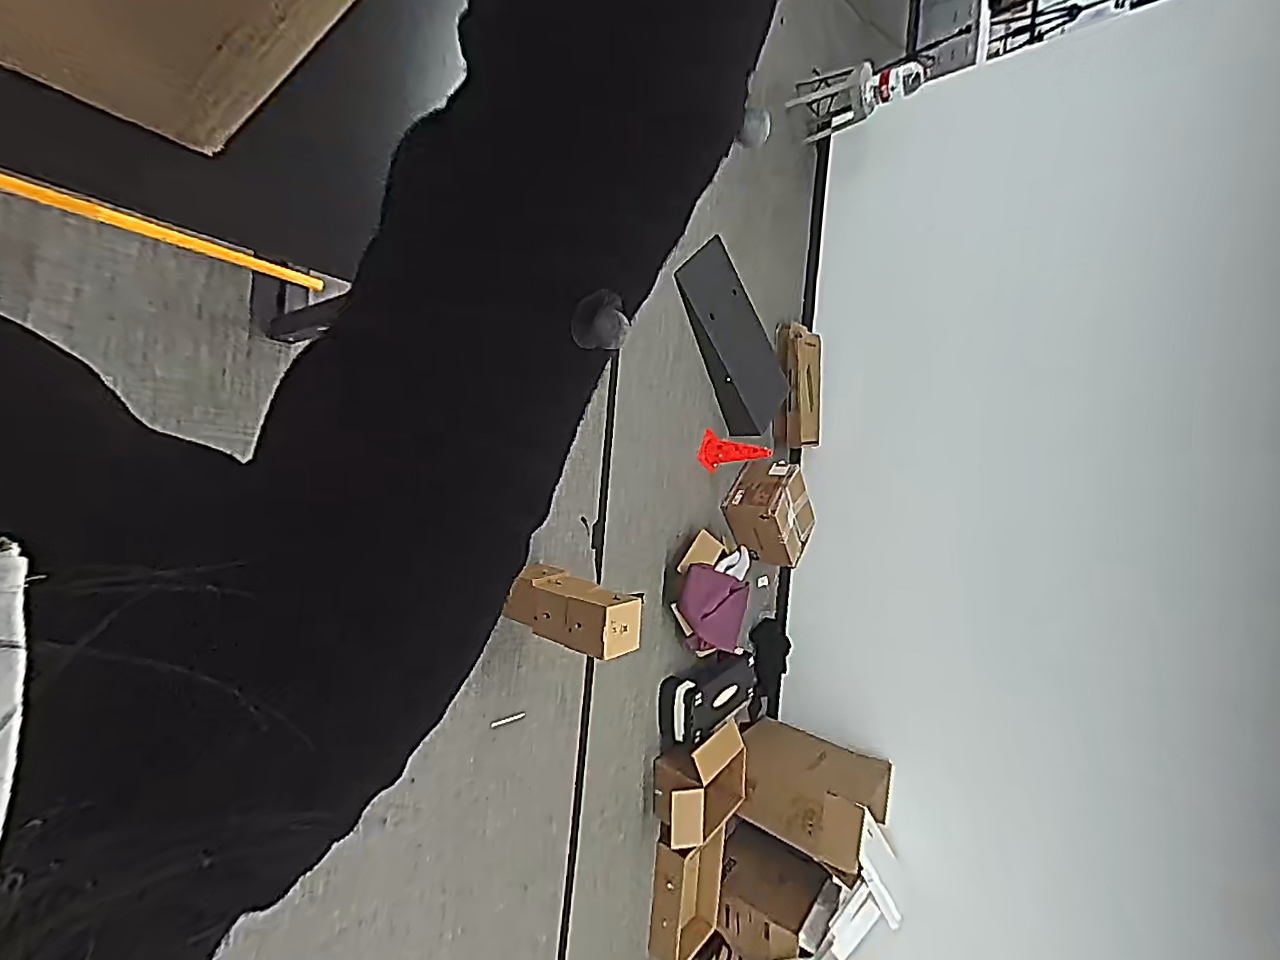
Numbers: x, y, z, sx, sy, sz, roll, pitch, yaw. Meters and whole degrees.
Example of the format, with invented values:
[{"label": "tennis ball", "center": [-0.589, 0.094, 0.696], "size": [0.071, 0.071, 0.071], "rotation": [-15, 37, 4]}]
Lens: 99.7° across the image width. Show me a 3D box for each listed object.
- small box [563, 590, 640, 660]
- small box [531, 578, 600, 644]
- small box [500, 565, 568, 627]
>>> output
[{"label": "small box", "center": [-0.121, 0.456, 1.729], "size": [0.179, 0.176, 0.168], "rotation": [2, 91, -52]}, {"label": "small box", "center": [-0.253, 0.437, 1.829], "size": [0.179, 0.176, 0.168], "rotation": [-5, 98, -51]}, {"label": "small box", "center": [-0.379, 0.408, 1.931], "size": [0.179, 0.176, 0.168], "rotation": [-4, 96, -50]}]
